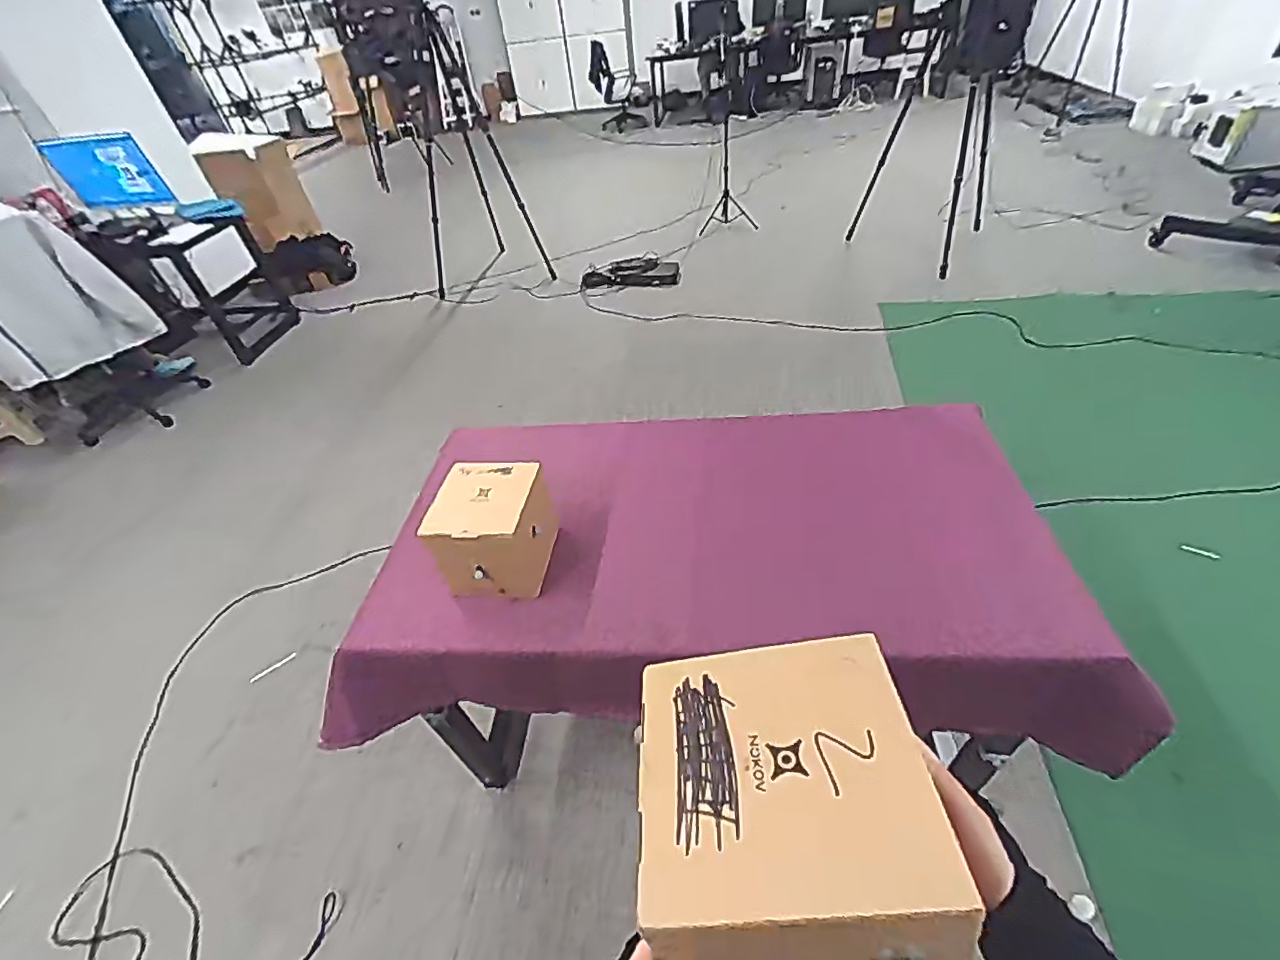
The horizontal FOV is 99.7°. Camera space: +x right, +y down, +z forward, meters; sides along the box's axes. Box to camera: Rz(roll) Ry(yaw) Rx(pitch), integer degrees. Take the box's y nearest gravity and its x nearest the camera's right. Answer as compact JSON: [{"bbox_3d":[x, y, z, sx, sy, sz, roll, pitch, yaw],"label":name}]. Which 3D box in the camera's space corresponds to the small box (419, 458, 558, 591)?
[{"bbox_3d":[-0.254,0.080,0.962,0.168,0.176,0.179,1,44,9],"label":"small box"}]
